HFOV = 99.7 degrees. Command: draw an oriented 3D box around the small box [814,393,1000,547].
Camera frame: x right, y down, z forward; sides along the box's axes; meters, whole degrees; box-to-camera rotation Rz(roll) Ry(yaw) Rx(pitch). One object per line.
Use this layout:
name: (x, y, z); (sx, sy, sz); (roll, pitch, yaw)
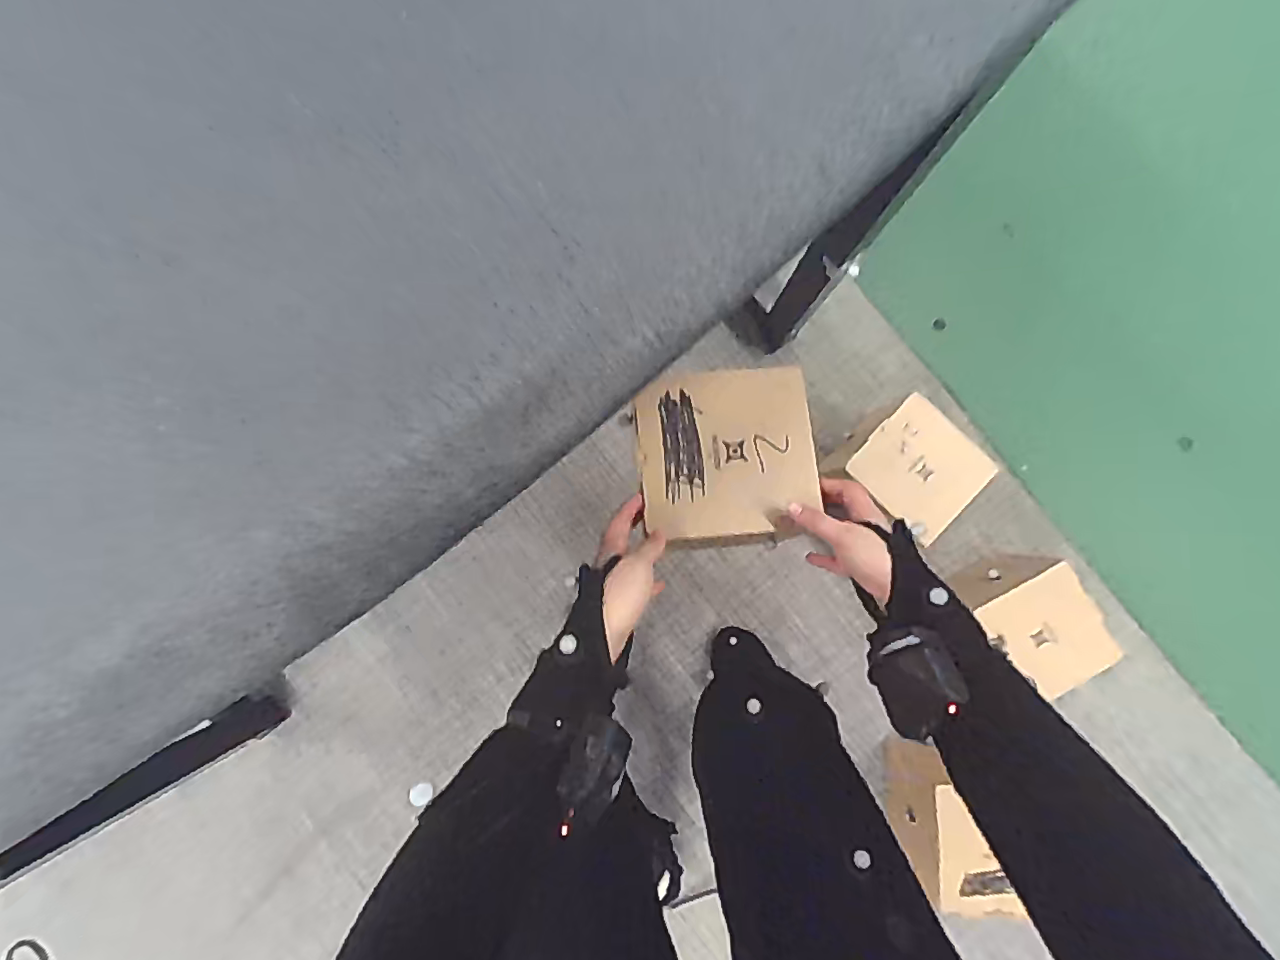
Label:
small box: (0.422, -0.012, 0.886); (0.179, 0.176, 0.168); (45, 87, 3)

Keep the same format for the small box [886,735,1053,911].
small box: (0.505, 0.526, 0.850); (0.168, 0.176, 0.179); (1, 85, 1)

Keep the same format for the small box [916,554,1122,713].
small box: (0.591, 0.231, 0.868); (0.179, 0.176, 0.168); (-28, 87, -1)
